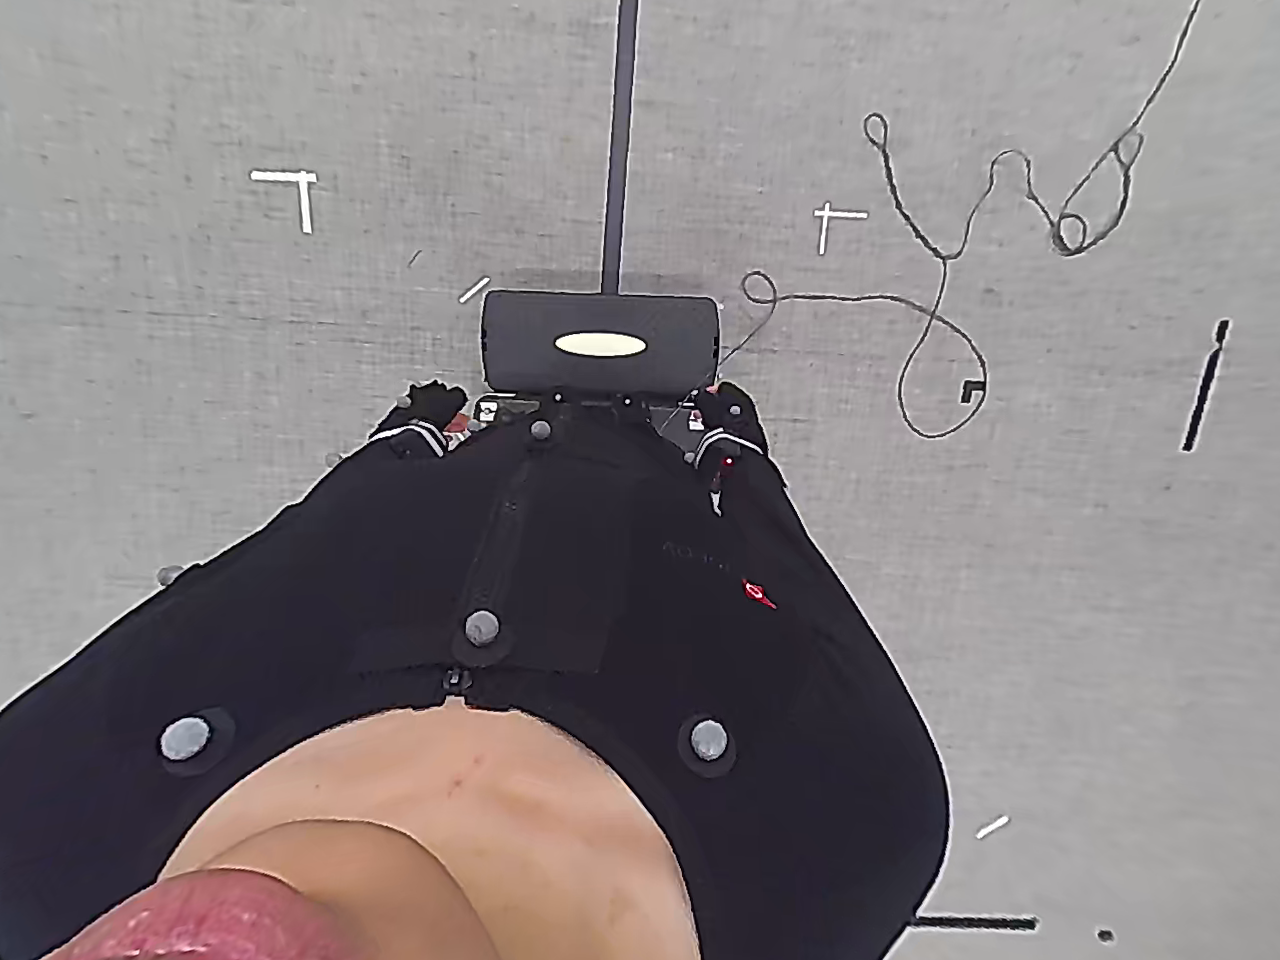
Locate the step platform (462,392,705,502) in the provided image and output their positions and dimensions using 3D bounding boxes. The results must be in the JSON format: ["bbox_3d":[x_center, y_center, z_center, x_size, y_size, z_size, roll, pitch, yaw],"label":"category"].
[{"bbox_3d":[-0.156,-0.097,1.558,0.684,0.204,0.286,2,101,-1],"label":"step platform"}]
